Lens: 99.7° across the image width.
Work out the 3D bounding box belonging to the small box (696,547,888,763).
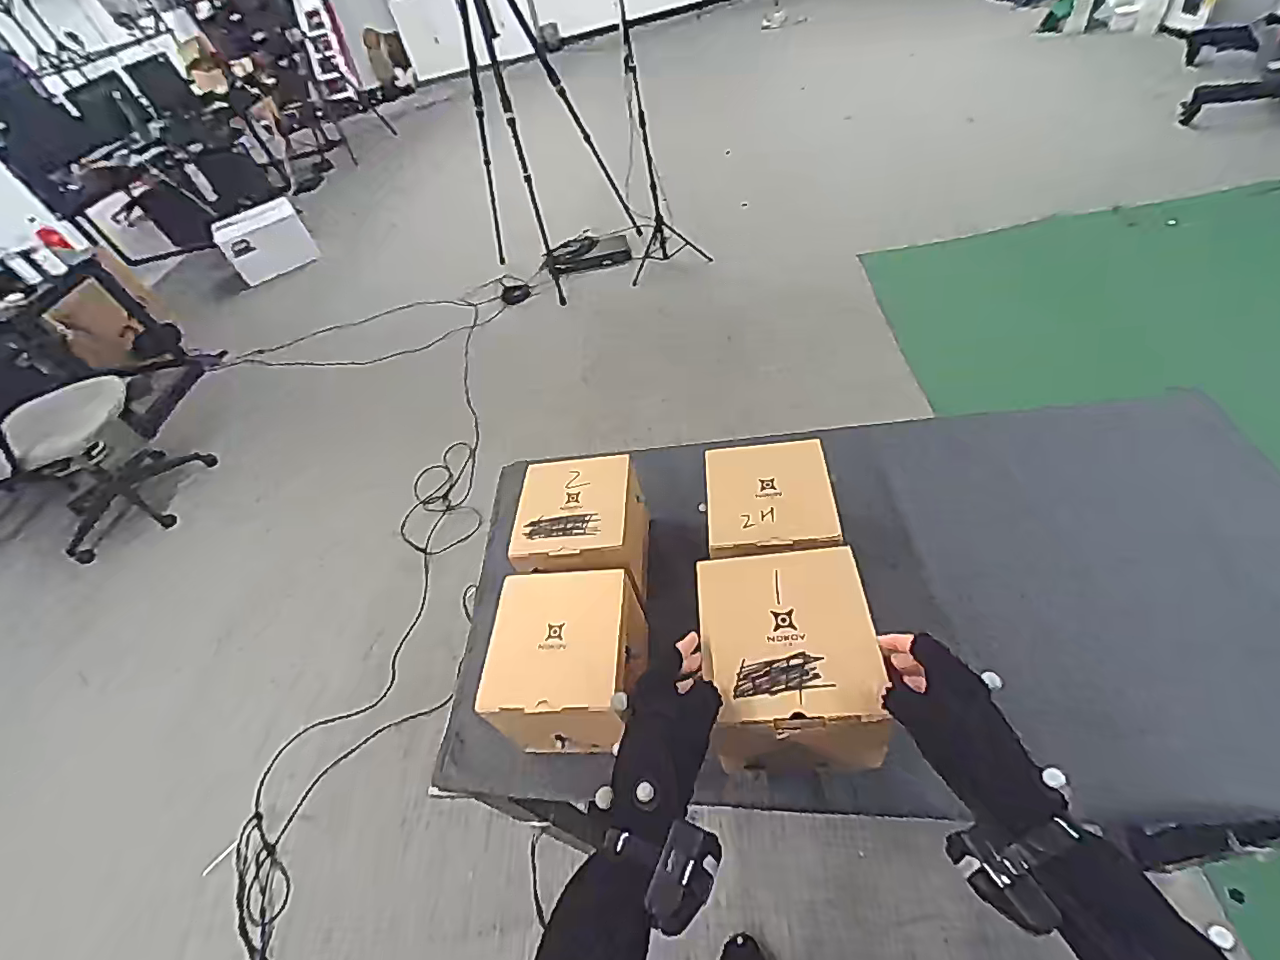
[{"bbox_3d":[0.156,0.197,0.587,0.168,0.176,0.179,-7,48,10],"label":"small box"}]

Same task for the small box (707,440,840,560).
[{"bbox_3d":[0.187,0.065,0.792,0.168,0.176,0.179,-5,48,11],"label":"small box"}]
